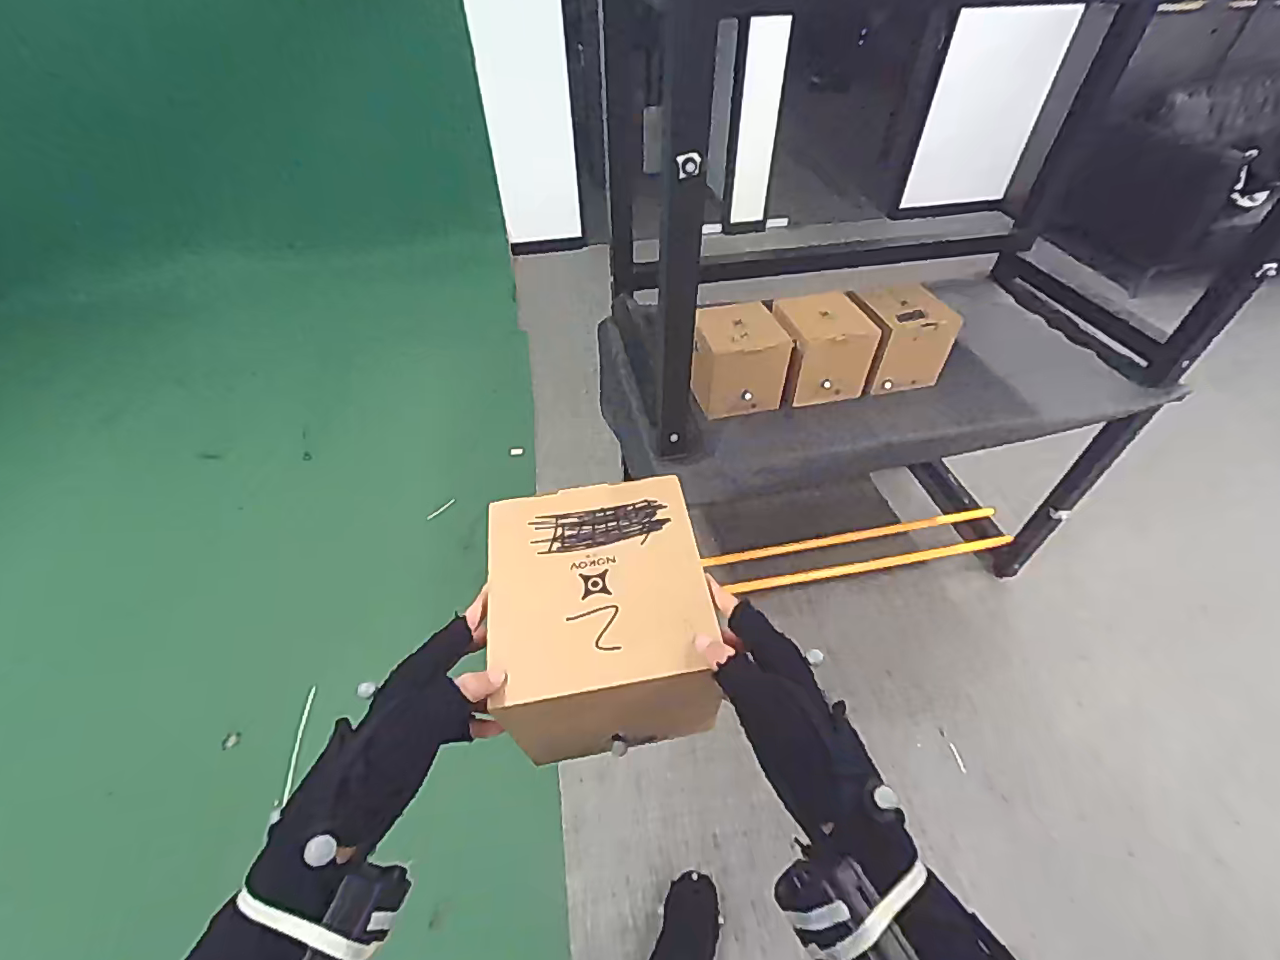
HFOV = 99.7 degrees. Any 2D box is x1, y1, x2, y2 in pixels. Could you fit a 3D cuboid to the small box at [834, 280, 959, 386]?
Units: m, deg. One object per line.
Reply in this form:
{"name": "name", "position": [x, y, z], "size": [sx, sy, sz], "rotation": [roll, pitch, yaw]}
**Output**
{"name": "small box", "position": [0.563, -0.323, 1.212], "size": [0.168, 0.176, 0.179], "rotation": [-10, 46, -8]}

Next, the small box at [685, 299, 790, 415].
{"name": "small box", "position": [0.198, -0.263, 1.159], "size": [0.168, 0.176, 0.179], "rotation": [-10, 46, -8]}
